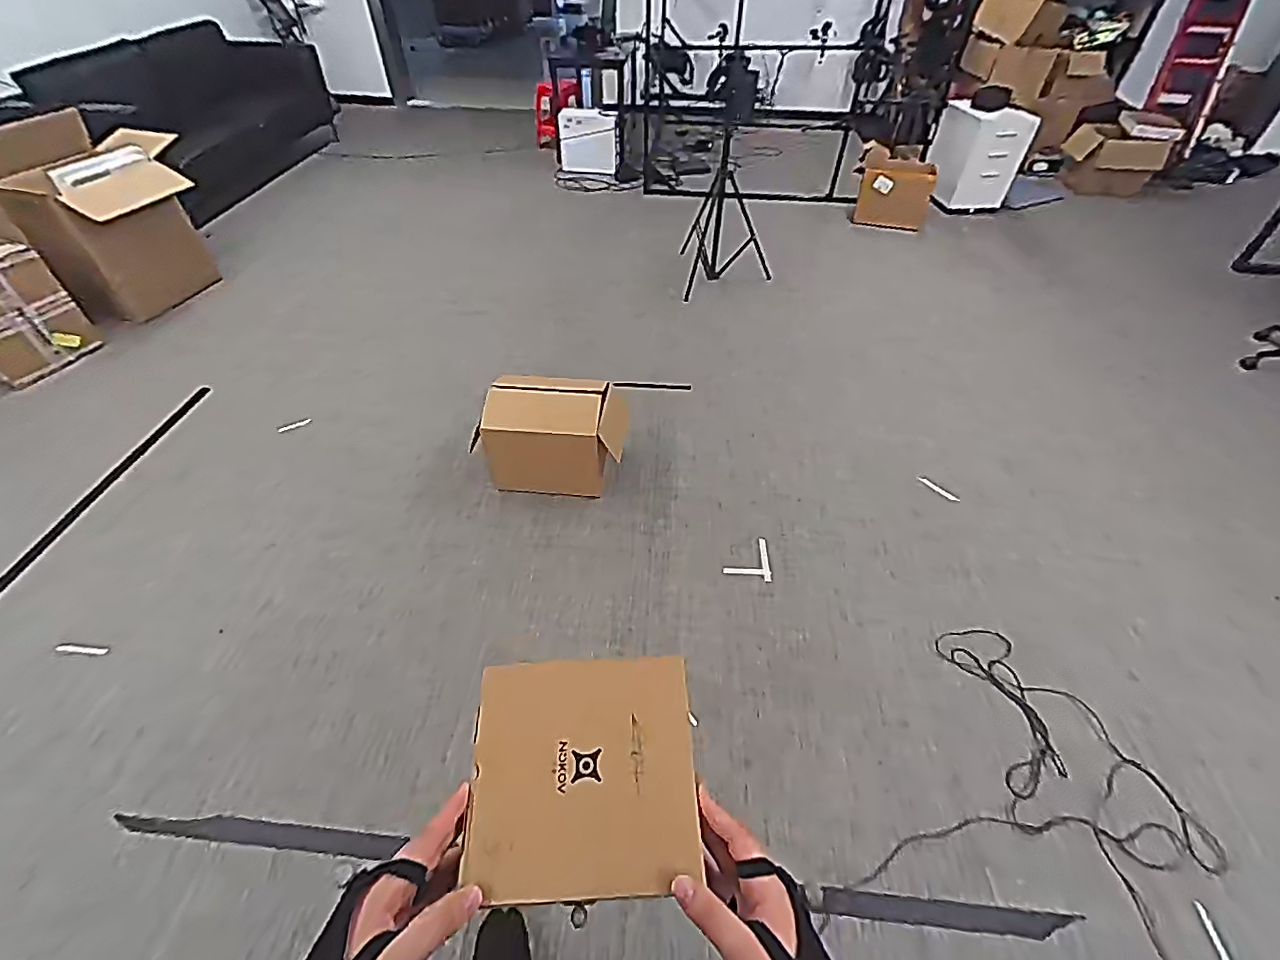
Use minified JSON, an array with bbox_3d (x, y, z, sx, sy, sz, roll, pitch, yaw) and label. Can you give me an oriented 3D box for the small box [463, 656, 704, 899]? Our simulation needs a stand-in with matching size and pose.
[{"bbox_3d":[-0.042,0.274,0.493,0.179,0.176,0.168,-3,53,-2],"label":"small box"}]
